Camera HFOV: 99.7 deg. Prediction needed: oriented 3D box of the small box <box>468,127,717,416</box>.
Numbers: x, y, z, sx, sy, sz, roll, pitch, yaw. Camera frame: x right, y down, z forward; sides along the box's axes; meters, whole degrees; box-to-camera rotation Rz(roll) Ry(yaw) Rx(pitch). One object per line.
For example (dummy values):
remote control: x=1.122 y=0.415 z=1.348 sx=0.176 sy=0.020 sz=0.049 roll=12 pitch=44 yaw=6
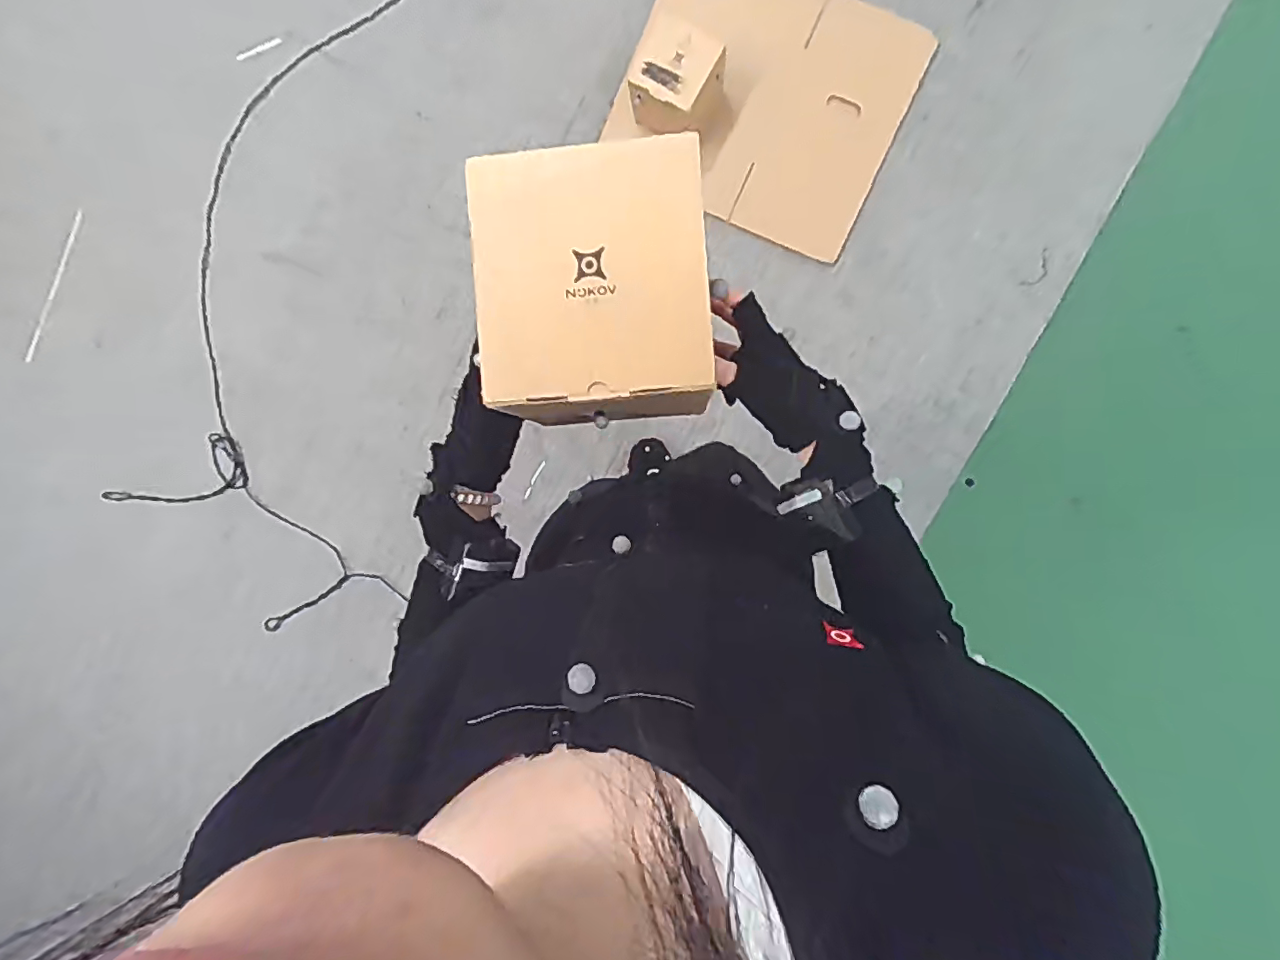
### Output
small box: x=-0.030 y=-0.153 z=0.455 sx=0.168 sy=0.176 sz=0.179 roll=-5 pitch=93 yaw=4
